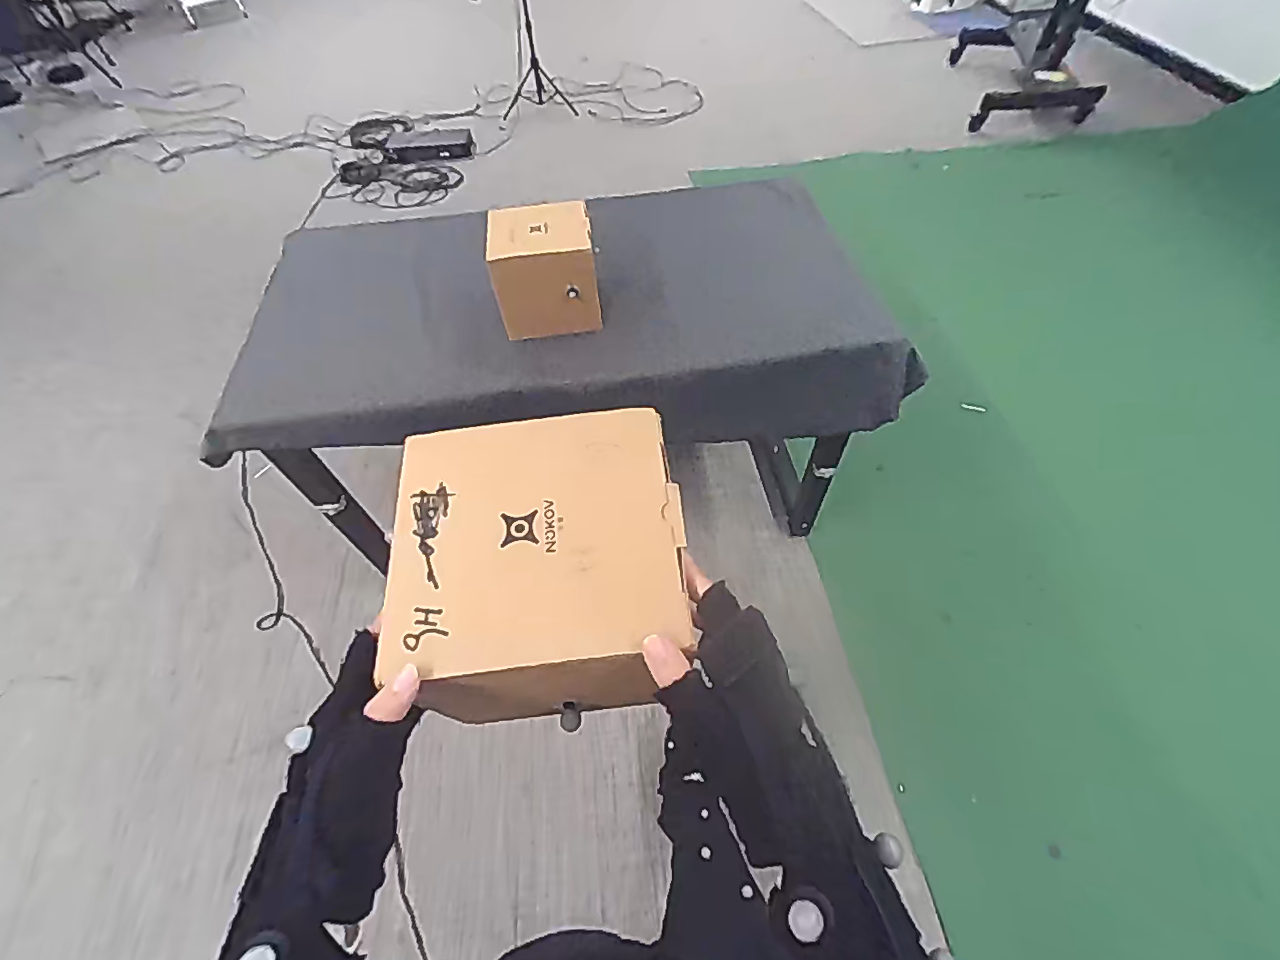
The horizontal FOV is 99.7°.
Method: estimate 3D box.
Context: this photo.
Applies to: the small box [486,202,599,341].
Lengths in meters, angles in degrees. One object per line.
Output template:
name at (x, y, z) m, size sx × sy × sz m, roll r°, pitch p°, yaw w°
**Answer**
small box at (-0.173, -0.380, 0.995) m, size 0.179 × 0.176 × 0.168 m, roll -9°, pitch 53°, yaw -2°
